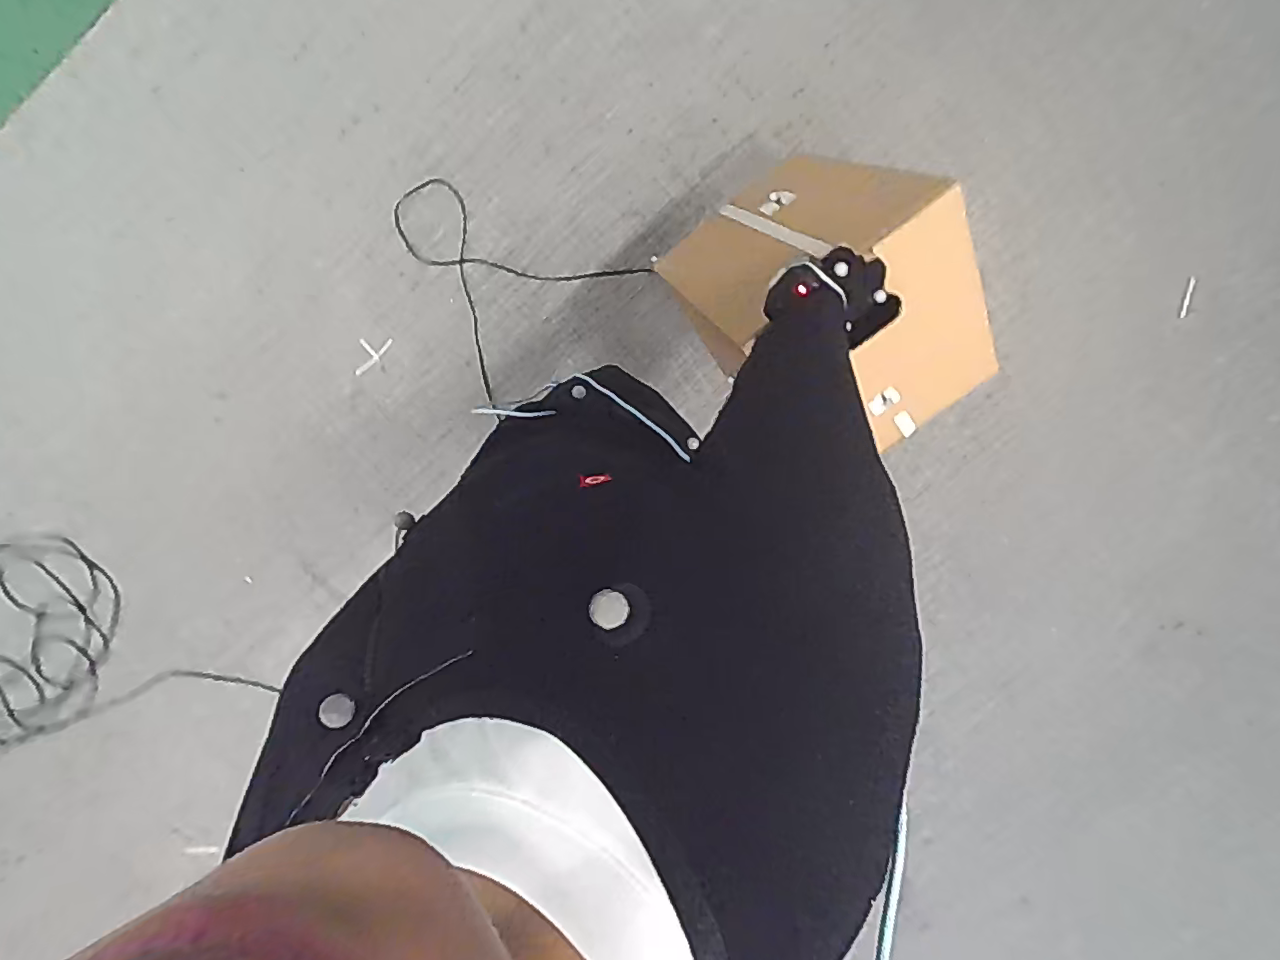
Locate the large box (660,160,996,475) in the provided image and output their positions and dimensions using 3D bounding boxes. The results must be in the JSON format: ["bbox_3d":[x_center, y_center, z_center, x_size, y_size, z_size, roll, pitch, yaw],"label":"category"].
[{"bbox_3d":[0.291,-0.283,0.910,0.320,0.408,0.320,-36,126,8],"label":"large box"}]
